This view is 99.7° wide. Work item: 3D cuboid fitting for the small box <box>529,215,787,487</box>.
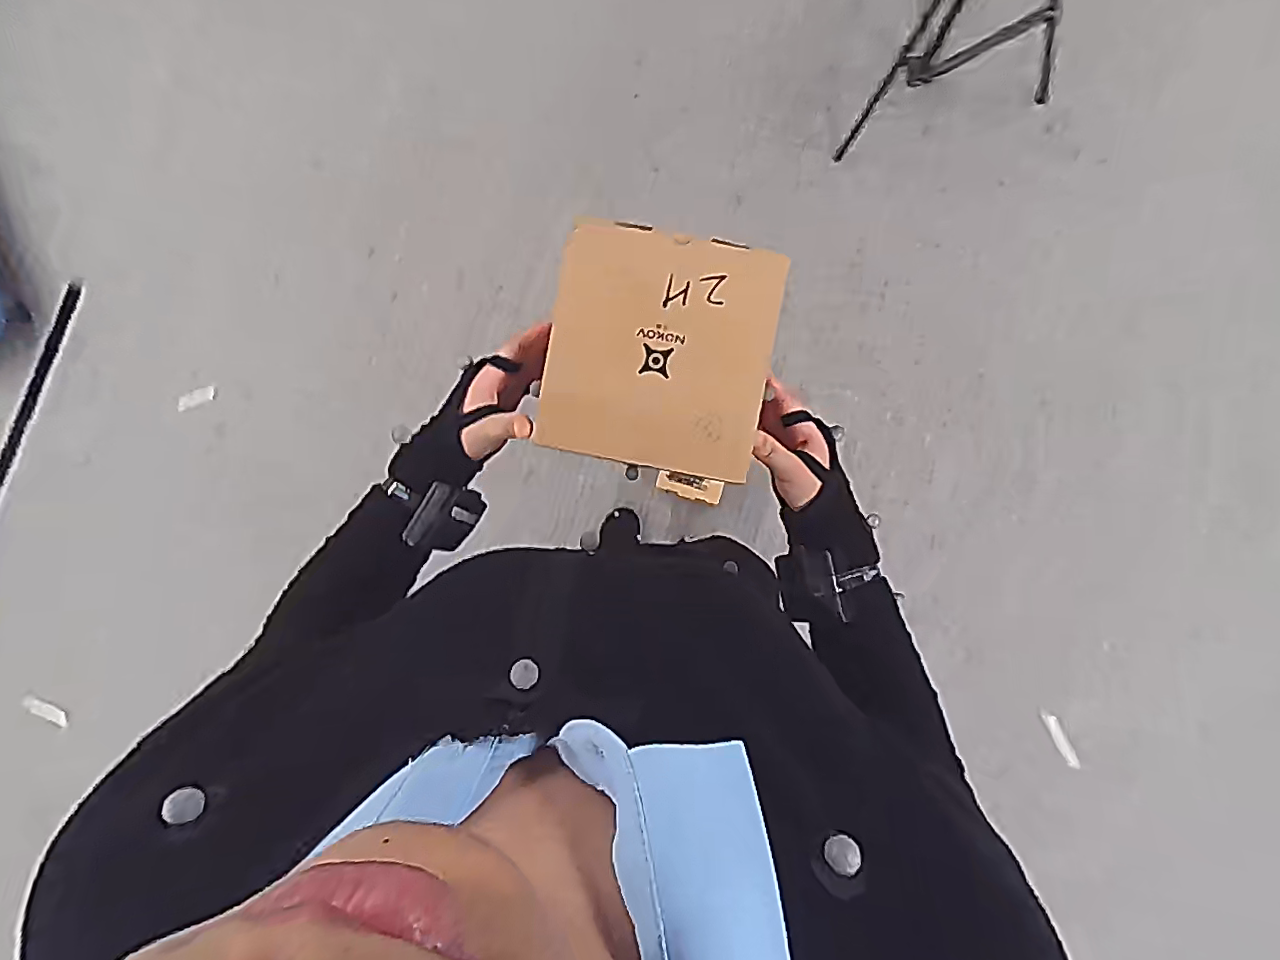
[{"bbox_3d":[0.014,-0.098,0.477,0.168,0.176,0.179,11,92,0],"label":"small box"}]
